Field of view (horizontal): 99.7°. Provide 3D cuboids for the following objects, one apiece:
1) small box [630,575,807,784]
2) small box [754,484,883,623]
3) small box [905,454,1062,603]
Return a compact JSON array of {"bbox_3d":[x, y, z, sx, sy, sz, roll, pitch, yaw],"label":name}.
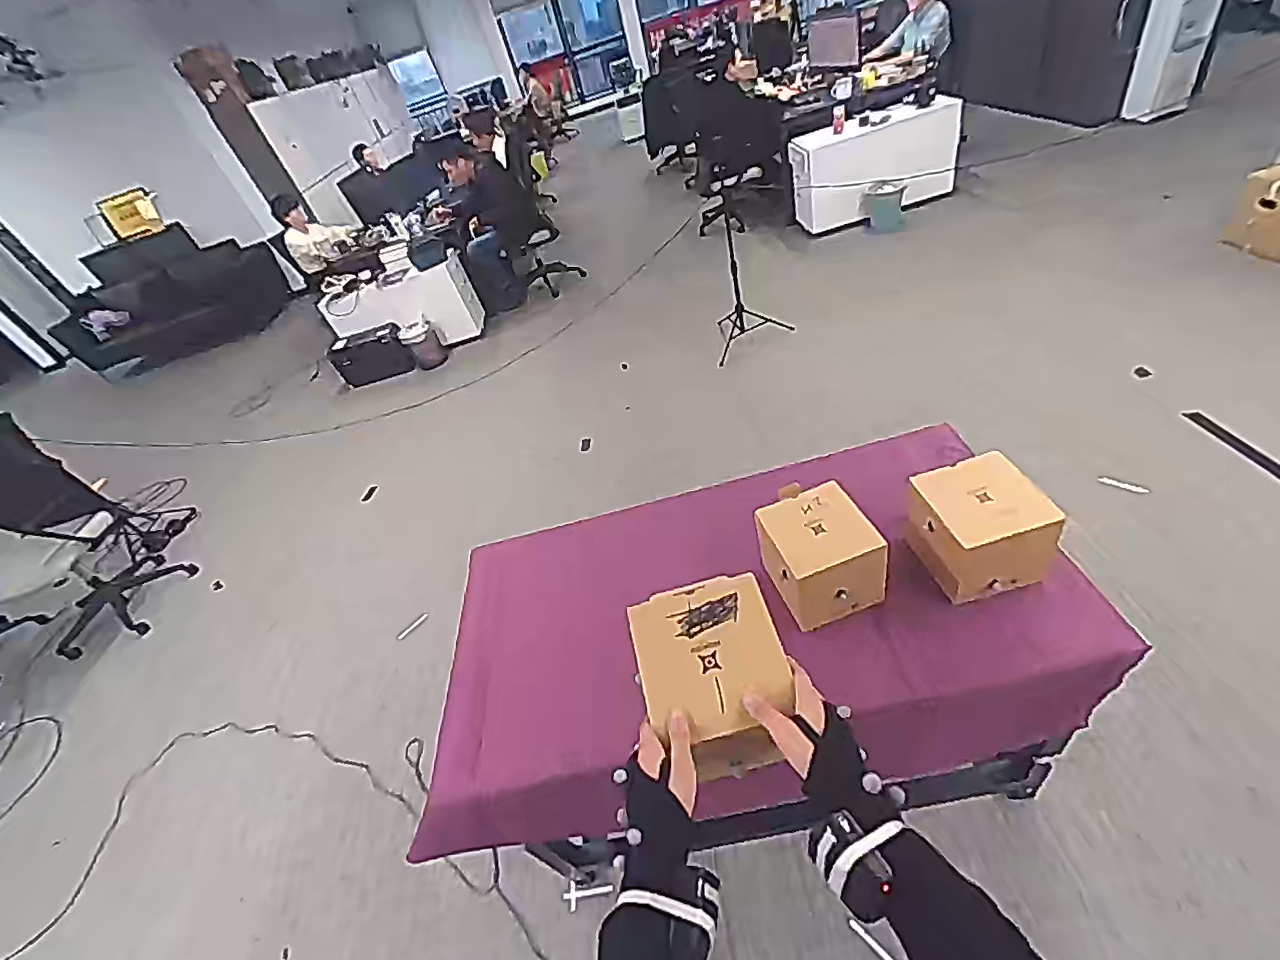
[{"bbox_3d":[0.096,0.252,0.679,0.168,0.176,0.179,-17,48,2],"label":"small box"},{"bbox_3d":[0.332,0.144,1.012,0.168,0.176,0.179,-21,40,-1],"label":"small box"},{"bbox_3d":[0.595,0.088,0.968,0.168,0.176,0.179,-18,40,4],"label":"small box"}]
